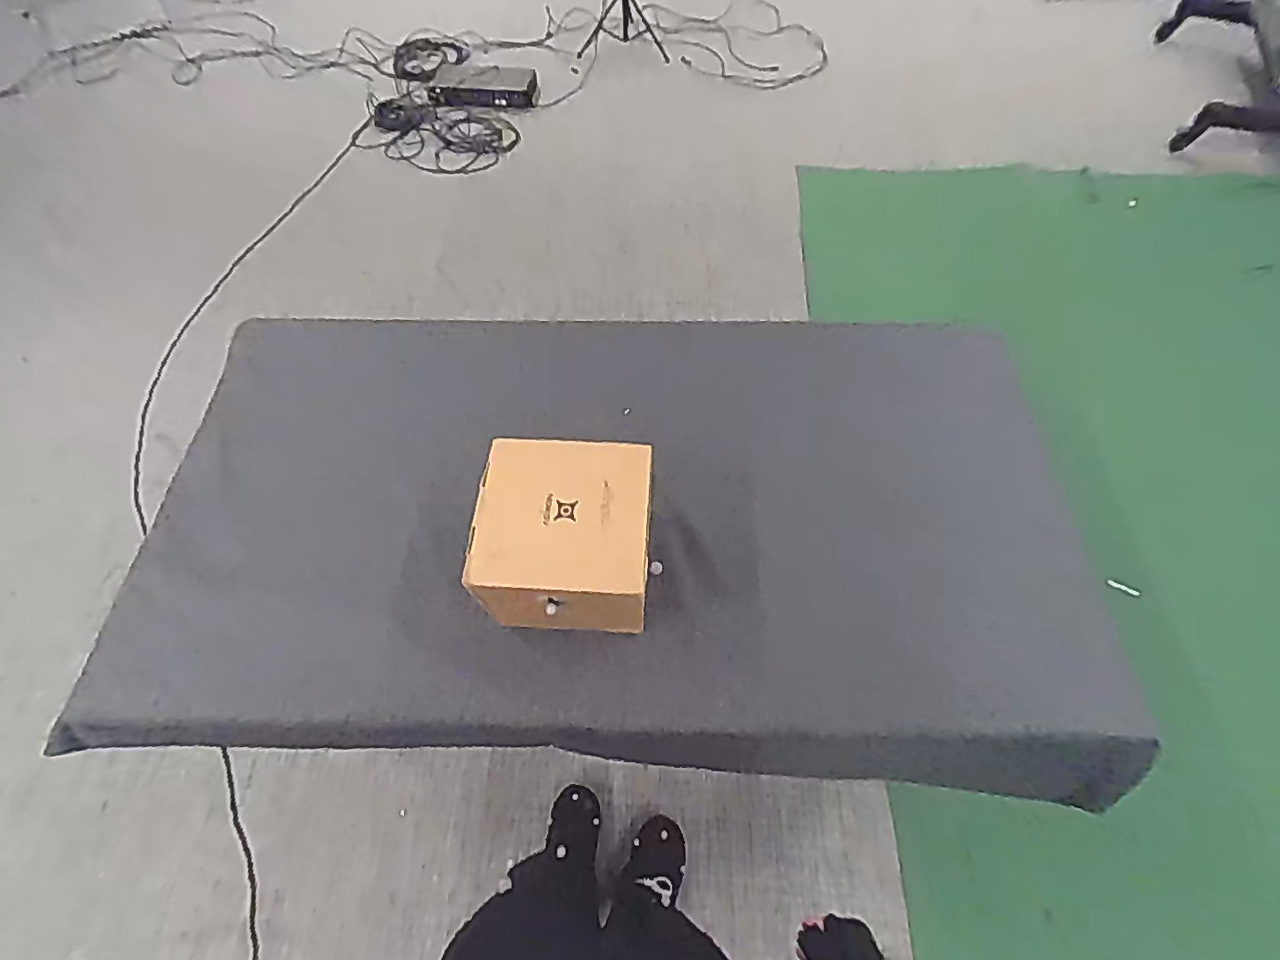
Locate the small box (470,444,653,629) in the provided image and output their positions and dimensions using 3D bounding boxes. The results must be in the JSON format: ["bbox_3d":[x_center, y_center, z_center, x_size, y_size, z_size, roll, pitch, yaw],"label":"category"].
[{"bbox_3d":[-0.076,0.073,0.632,0.179,0.176,0.168,2,62,1],"label":"small box"}]
